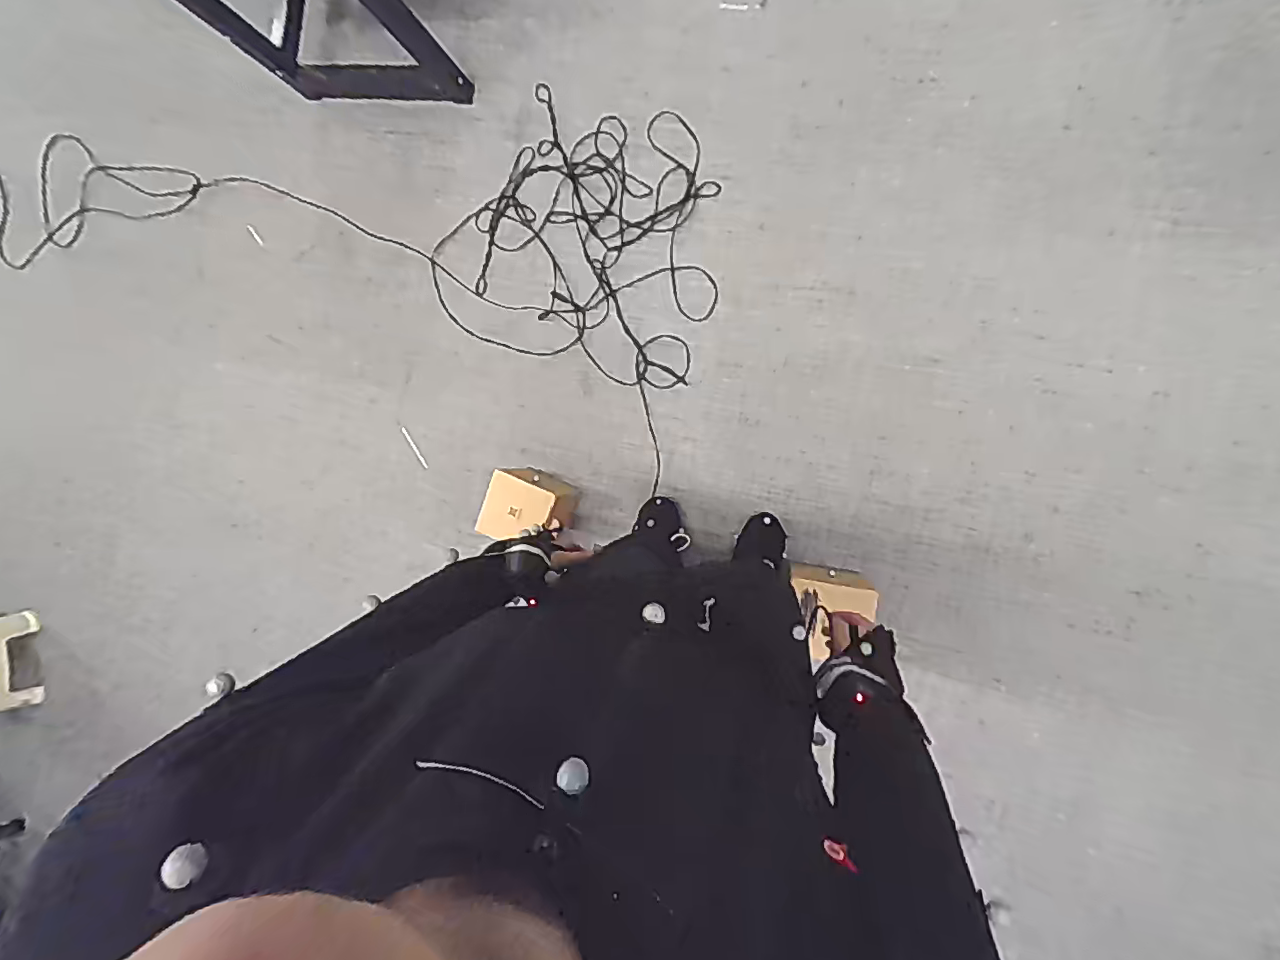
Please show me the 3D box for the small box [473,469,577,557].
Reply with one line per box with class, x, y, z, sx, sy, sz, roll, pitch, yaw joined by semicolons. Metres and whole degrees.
small box;-0.287;0.080;1.378;0.179;0.176;0.168;22;96;12
